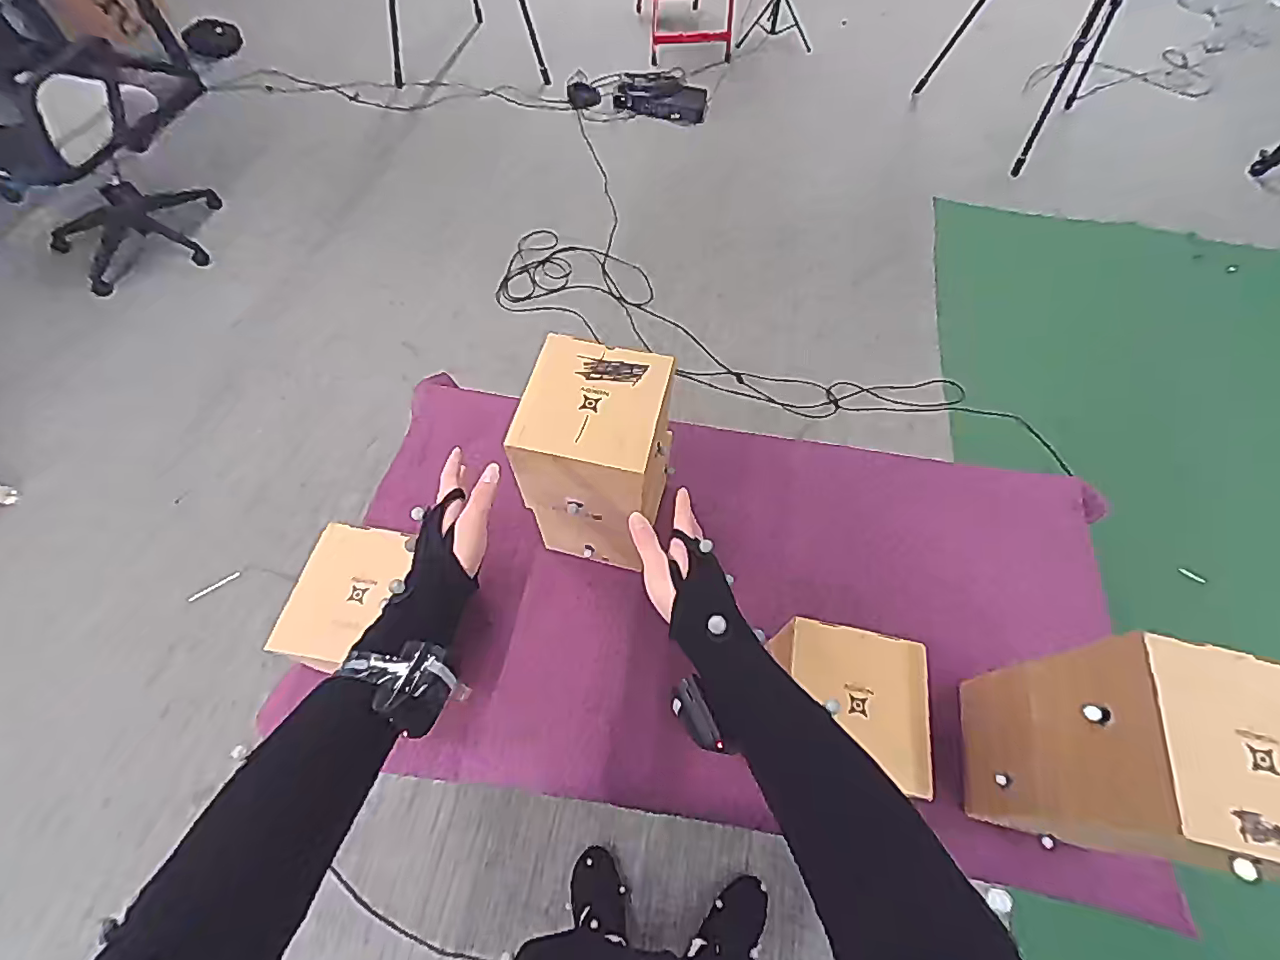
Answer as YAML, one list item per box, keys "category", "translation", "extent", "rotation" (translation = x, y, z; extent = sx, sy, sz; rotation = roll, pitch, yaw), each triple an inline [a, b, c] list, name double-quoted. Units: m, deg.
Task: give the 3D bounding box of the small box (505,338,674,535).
- category: "small box"
  translation: [-0.059, -0.052, 0.712]
  extent: [0.168, 0.176, 0.179]
  rotation: [12, 62, 5]

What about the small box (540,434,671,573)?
- category: "small box"
  translation: [-0.055, 0.025, 0.857]
  extent: [0.168, 0.176, 0.179]
  rotation: [14, 62, 6]

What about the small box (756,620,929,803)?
- category: "small box"
  translation: [0.253, 0.307, 0.708]
  extent: [0.168, 0.176, 0.179]
  rotation: [11, 59, 5]

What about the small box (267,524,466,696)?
- category: "small box"
  translation: [-0.361, 0.186, 0.758]
  extent: [0.168, 0.176, 0.179]
  rotation: [9, 60, 4]

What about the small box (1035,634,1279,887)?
- category: "small box"
  translation: [0.533, 0.279, 0.539]
  extent: [0.168, 0.176, 0.179]
  rotation: [12, 60, 7]
